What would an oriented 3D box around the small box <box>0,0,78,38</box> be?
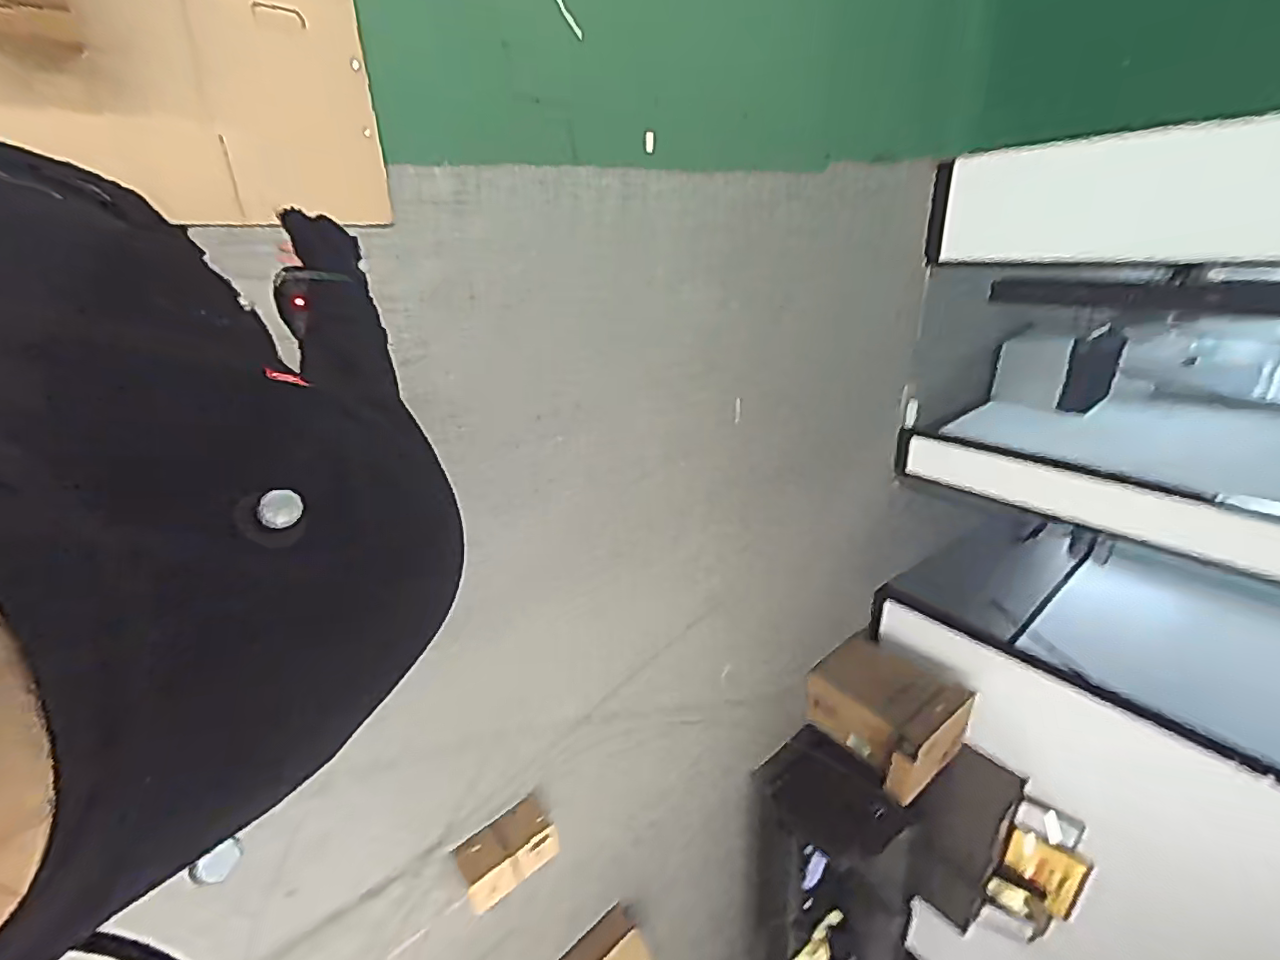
[{"bbox_3d":[-0.954,-0.771,0.772,0.168,0.176,0.179,-17,117,-34],"label":"small box"}]
